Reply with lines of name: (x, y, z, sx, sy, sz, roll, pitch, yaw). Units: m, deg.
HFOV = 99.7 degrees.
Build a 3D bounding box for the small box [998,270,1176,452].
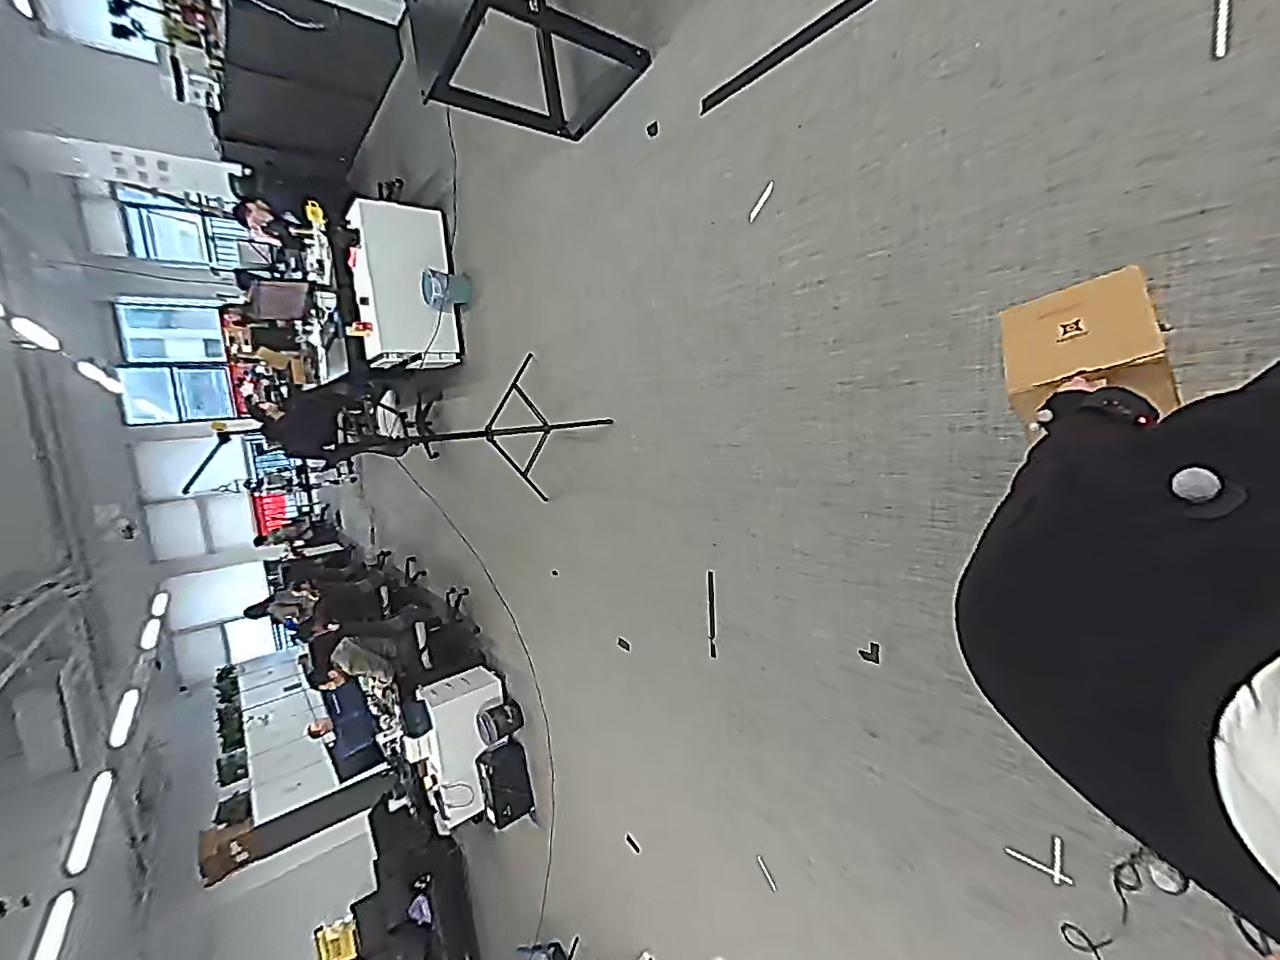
small box: (0.644, -0.158, 0.788, 0.168, 0.176, 0.179, -14, 46, 42)
